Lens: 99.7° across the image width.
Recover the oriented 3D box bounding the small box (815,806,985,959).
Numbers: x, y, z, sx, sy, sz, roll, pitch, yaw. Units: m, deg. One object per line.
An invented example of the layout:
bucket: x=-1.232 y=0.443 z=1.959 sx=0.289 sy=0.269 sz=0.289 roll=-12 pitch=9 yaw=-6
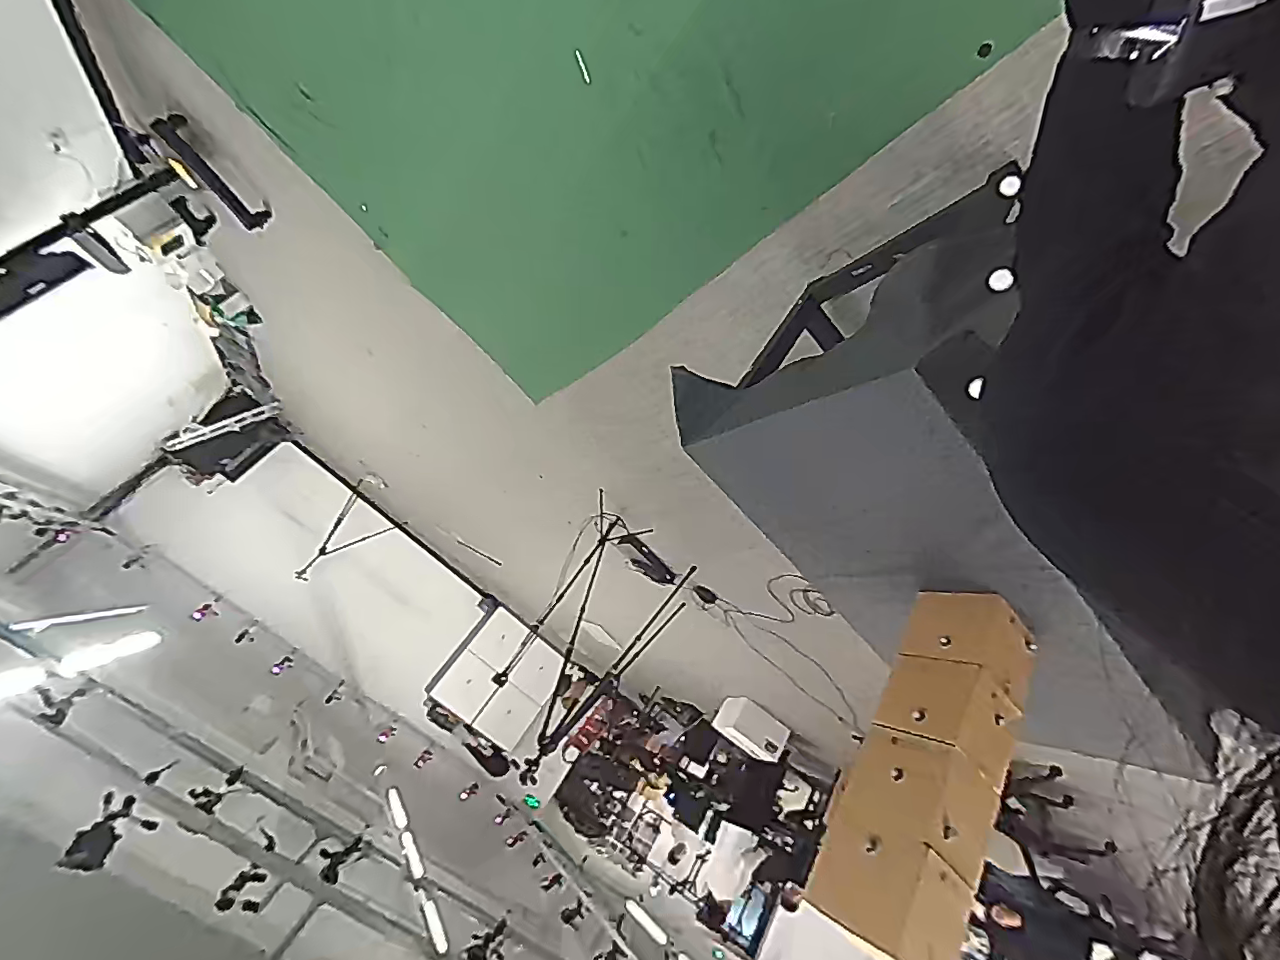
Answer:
small box: x=0.439 y=0.689 z=0.911 sx=0.168 sy=0.176 sz=0.179 roll=47 pitch=152 yaw=-18

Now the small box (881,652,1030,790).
small box: x=0.619 y=0.459 z=1.060 sx=0.168 sy=0.176 sz=0.179 roll=45 pitch=152 yaw=-16

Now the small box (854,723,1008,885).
small box: x=0.530 y=0.575 z=0.984 sx=0.179 sy=0.176 sz=0.168 roll=46 pitch=152 yaw=-17

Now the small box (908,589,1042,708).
small box: x=0.707 y=0.344 z=1.133 sx=0.168 sy=0.176 sz=0.179 roll=45 pitch=154 yaw=-15
